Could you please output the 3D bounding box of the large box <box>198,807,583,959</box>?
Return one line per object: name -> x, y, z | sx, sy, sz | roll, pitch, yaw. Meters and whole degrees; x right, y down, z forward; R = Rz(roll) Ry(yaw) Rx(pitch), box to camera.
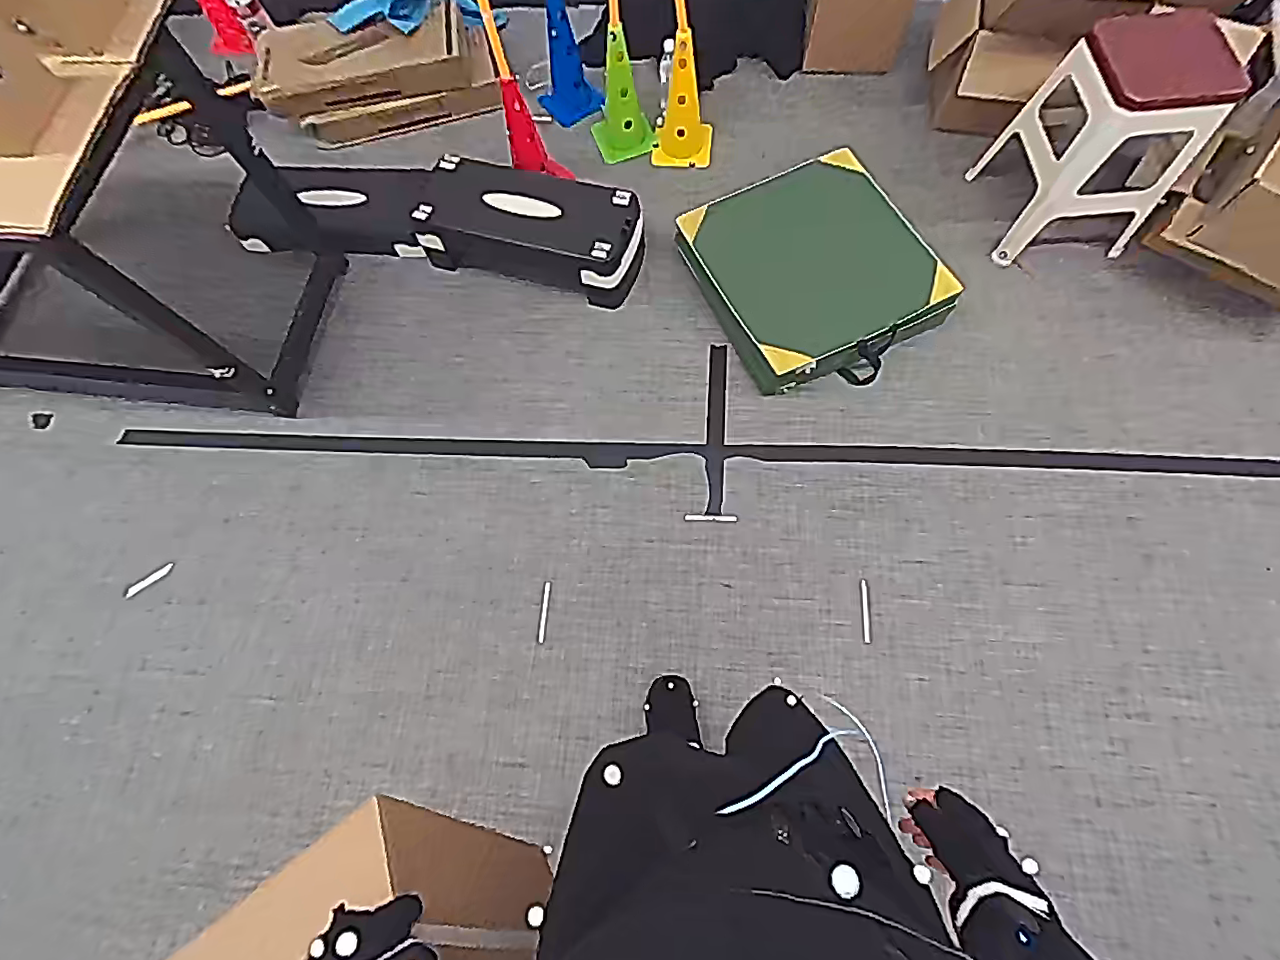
large box -> -0.289, 0.687, 0.669 | 0.320, 0.408, 0.320 | -37, 42, -7
